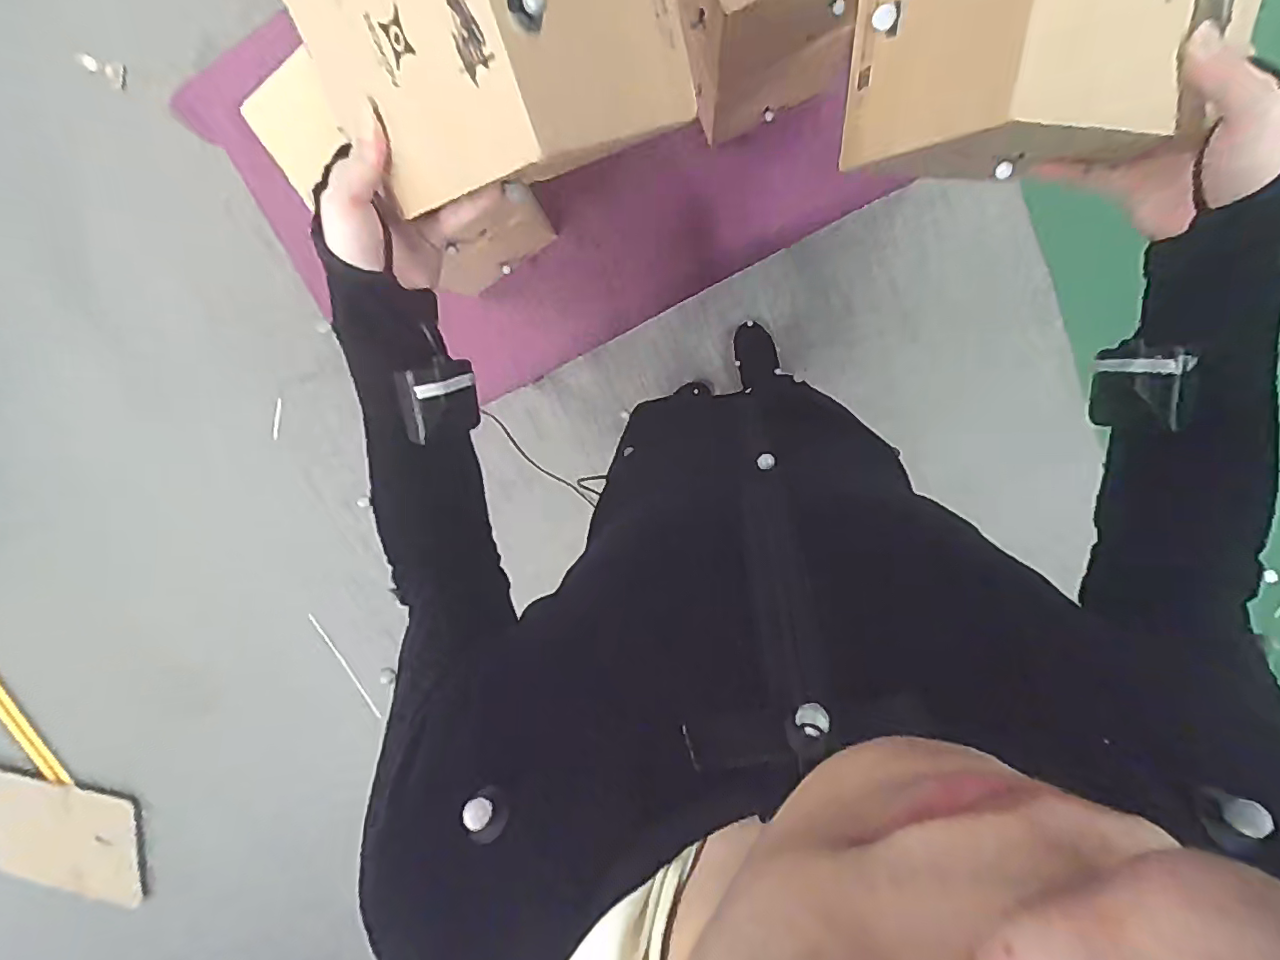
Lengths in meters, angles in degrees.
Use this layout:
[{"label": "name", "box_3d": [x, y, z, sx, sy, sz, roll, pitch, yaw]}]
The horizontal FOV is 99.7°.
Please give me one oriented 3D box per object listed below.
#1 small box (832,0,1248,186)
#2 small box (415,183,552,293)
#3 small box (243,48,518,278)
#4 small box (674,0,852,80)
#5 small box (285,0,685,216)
[{"label": "small box", "box_3d": [0.267, -0.315, 0.380, 0.179, 0.176, 0.168, -4, 110, -13]}, {"label": "small box", "box_3d": [-0.250, -0.384, 0.757, 0.168, 0.176, 0.179, -30, 99, 13]}, {"label": "small box", "box_3d": [-0.267, -0.349, 0.599, 0.168, 0.176, 0.179, -32, 99, 13]}, {"label": "small box", "box_3d": [0.111, -0.524, 0.509, 0.168, 0.176, 0.179, -23, 101, 12]}, {"label": "small box", "box_3d": [-0.098, -0.294, 0.357, 0.179, 0.176, 0.168, 8, 128, 40]}]
